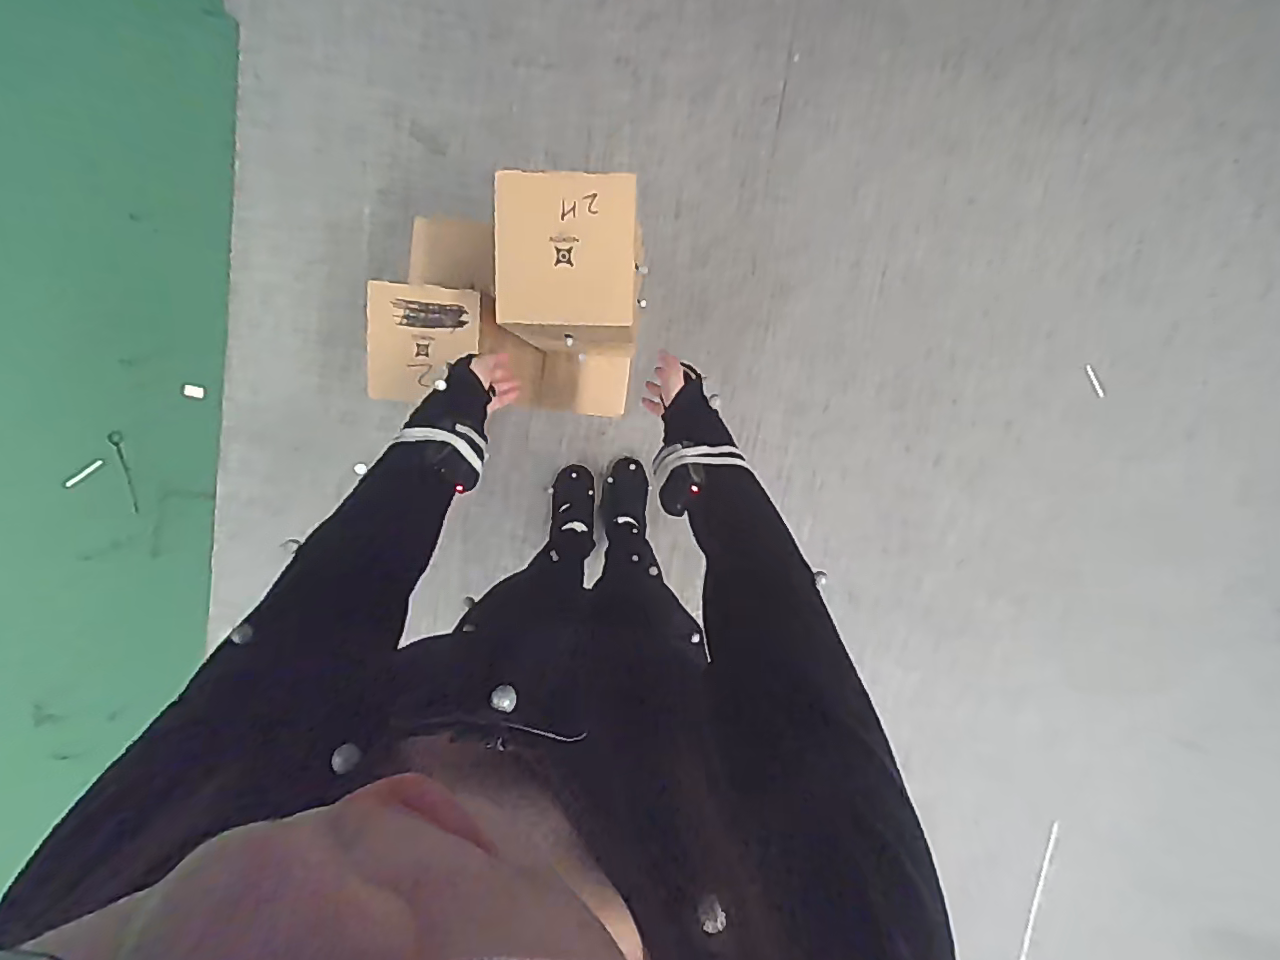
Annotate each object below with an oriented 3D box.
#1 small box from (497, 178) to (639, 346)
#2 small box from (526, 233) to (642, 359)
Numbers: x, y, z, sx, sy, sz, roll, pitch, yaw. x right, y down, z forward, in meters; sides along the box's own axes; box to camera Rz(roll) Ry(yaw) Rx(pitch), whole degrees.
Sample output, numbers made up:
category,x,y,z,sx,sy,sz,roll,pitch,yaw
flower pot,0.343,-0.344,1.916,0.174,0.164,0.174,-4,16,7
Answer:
category,x,y,z,sx,sy,sz,roll,pitch,yaw
small box,-0.088,-0.277,0.727,0.168,0.176,0.179,2,98,0
small box,-0.086,-0.300,0.889,0.168,0.176,0.179,5,99,0
